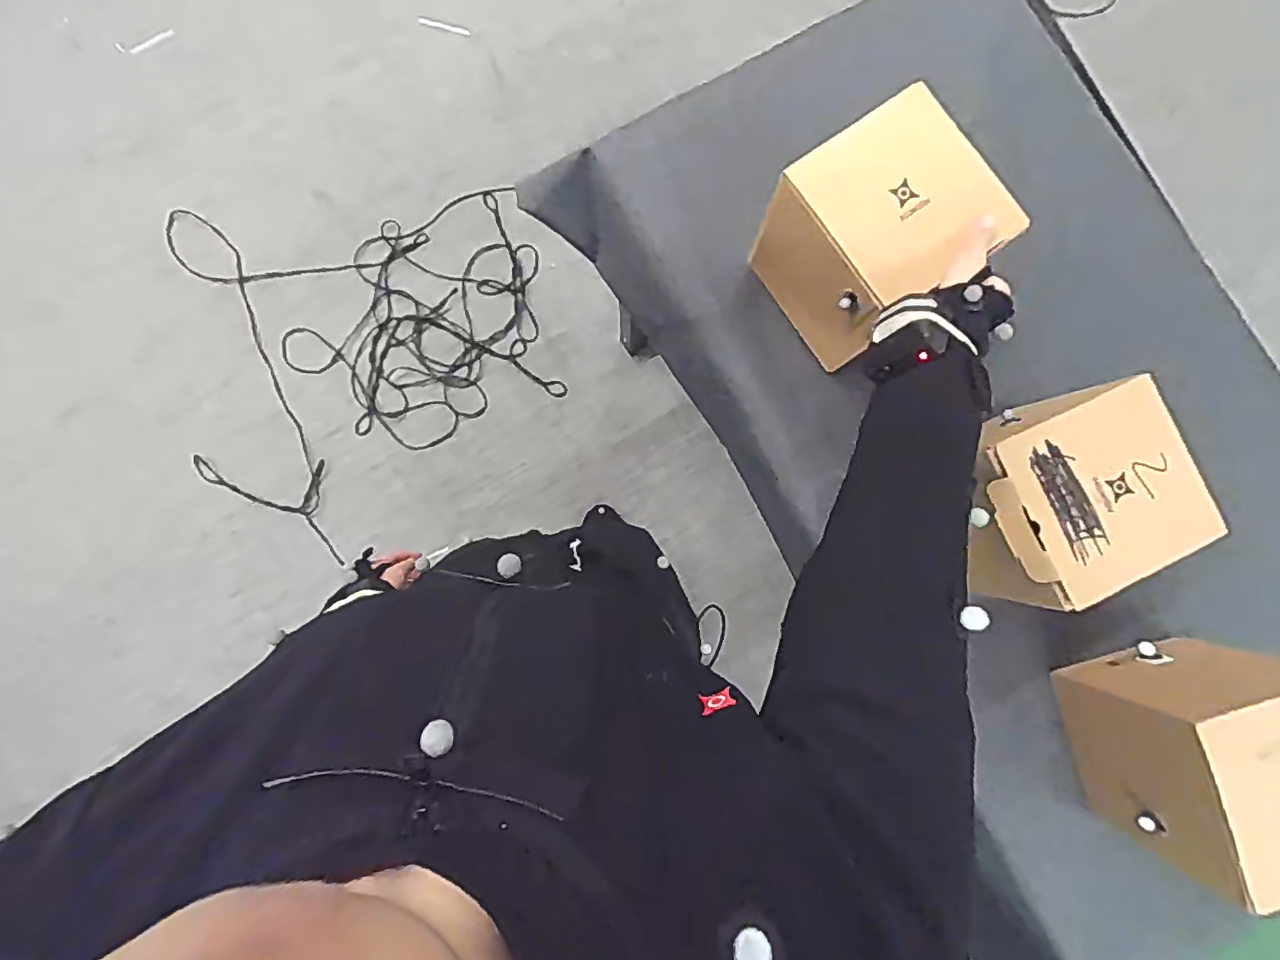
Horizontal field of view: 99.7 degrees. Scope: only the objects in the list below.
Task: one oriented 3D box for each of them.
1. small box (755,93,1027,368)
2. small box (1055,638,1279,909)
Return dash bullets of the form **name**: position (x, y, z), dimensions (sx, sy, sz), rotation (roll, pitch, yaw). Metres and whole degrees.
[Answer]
- **small box**: position (0.249, -0.252, 0.588), dimensions (0.168, 0.176, 0.179), rotation (-34, 86, -4)
- **small box**: position (0.596, 0.286, 0.570), dimensions (0.168, 0.176, 0.179), rotation (-14, 86, -4)
